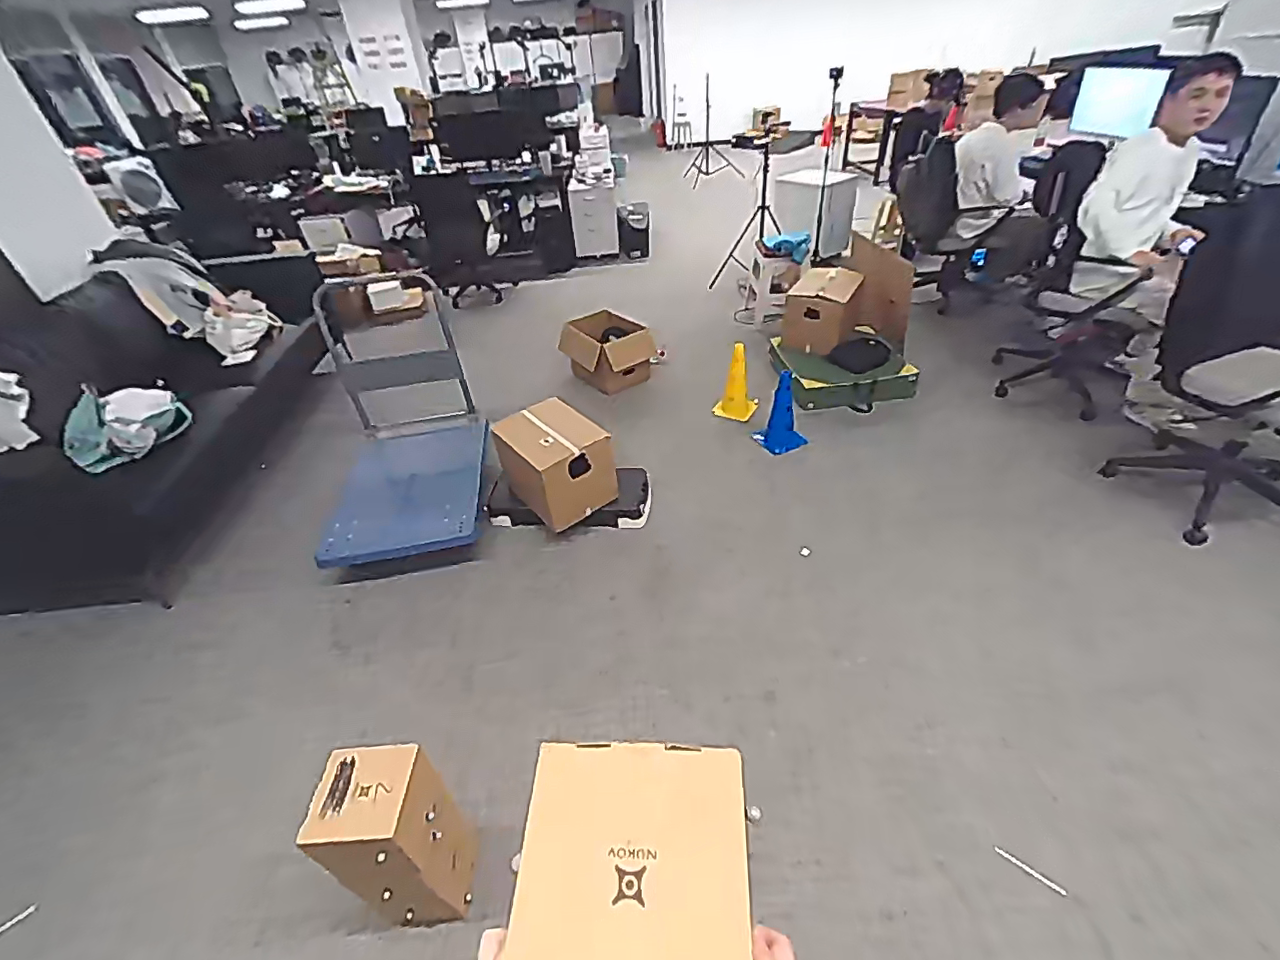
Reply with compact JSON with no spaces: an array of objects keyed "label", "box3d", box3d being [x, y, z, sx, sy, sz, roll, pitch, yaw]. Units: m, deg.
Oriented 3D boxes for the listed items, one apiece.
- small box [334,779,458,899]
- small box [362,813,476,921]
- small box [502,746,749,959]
[{"label":"small box","box3d":[-0.503,0.763,1.146,0.168,0.176,0.179,-4,39,1]},{"label":"small box","box3d":[-0.496,0.893,1.248,0.179,0.176,0.168,-6,39,2]},{"label":"small box","box3d":[0.002,0.336,0.437,0.168,0.176,0.179,-2,46,6]}]
